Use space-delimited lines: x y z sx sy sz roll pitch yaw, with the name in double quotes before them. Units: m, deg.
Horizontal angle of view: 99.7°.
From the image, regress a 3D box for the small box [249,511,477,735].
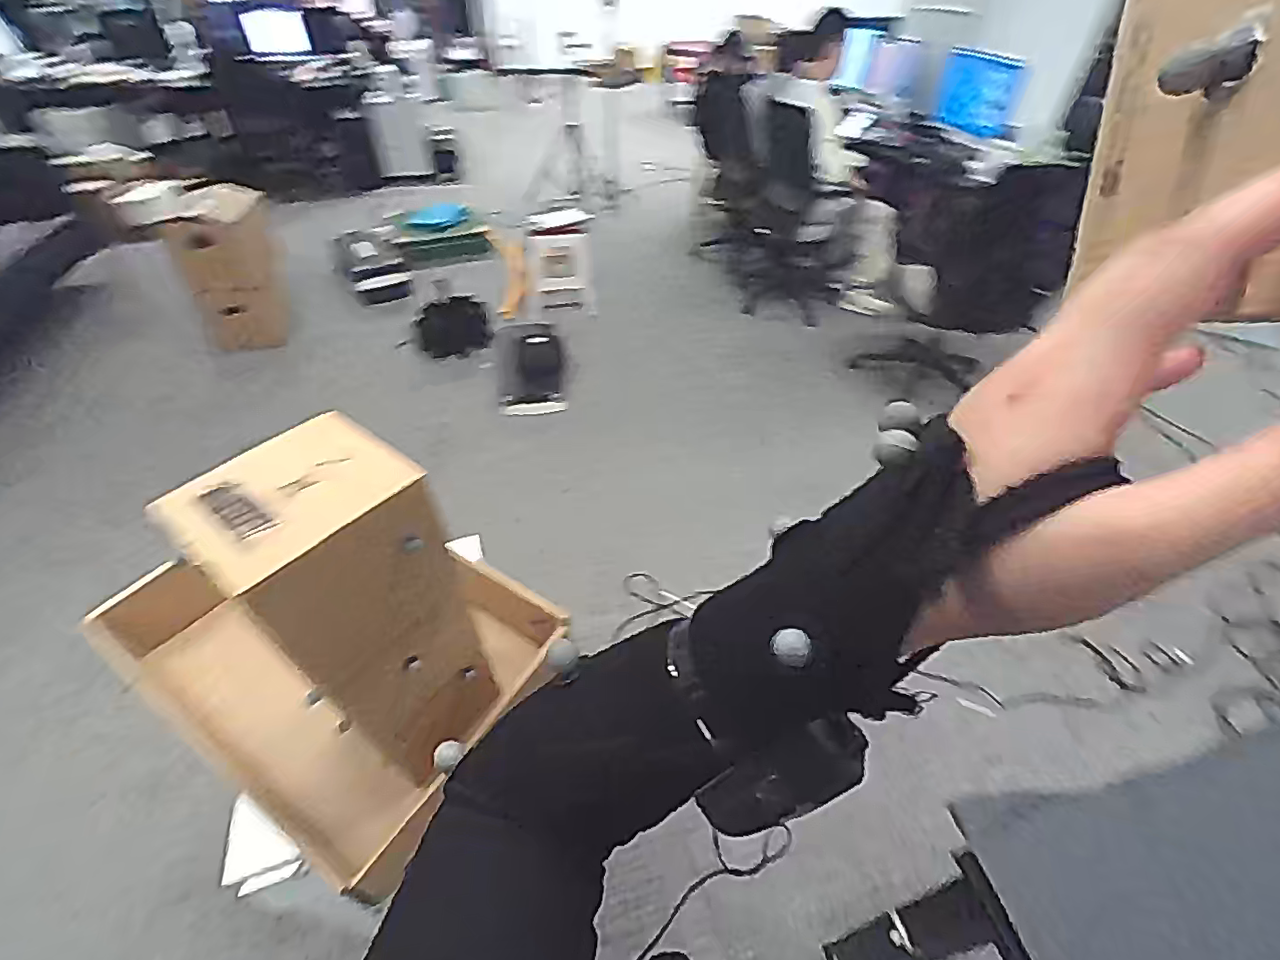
"small box" -0.328 0.177 0.682 0.168 0.176 0.179 25 51 25
